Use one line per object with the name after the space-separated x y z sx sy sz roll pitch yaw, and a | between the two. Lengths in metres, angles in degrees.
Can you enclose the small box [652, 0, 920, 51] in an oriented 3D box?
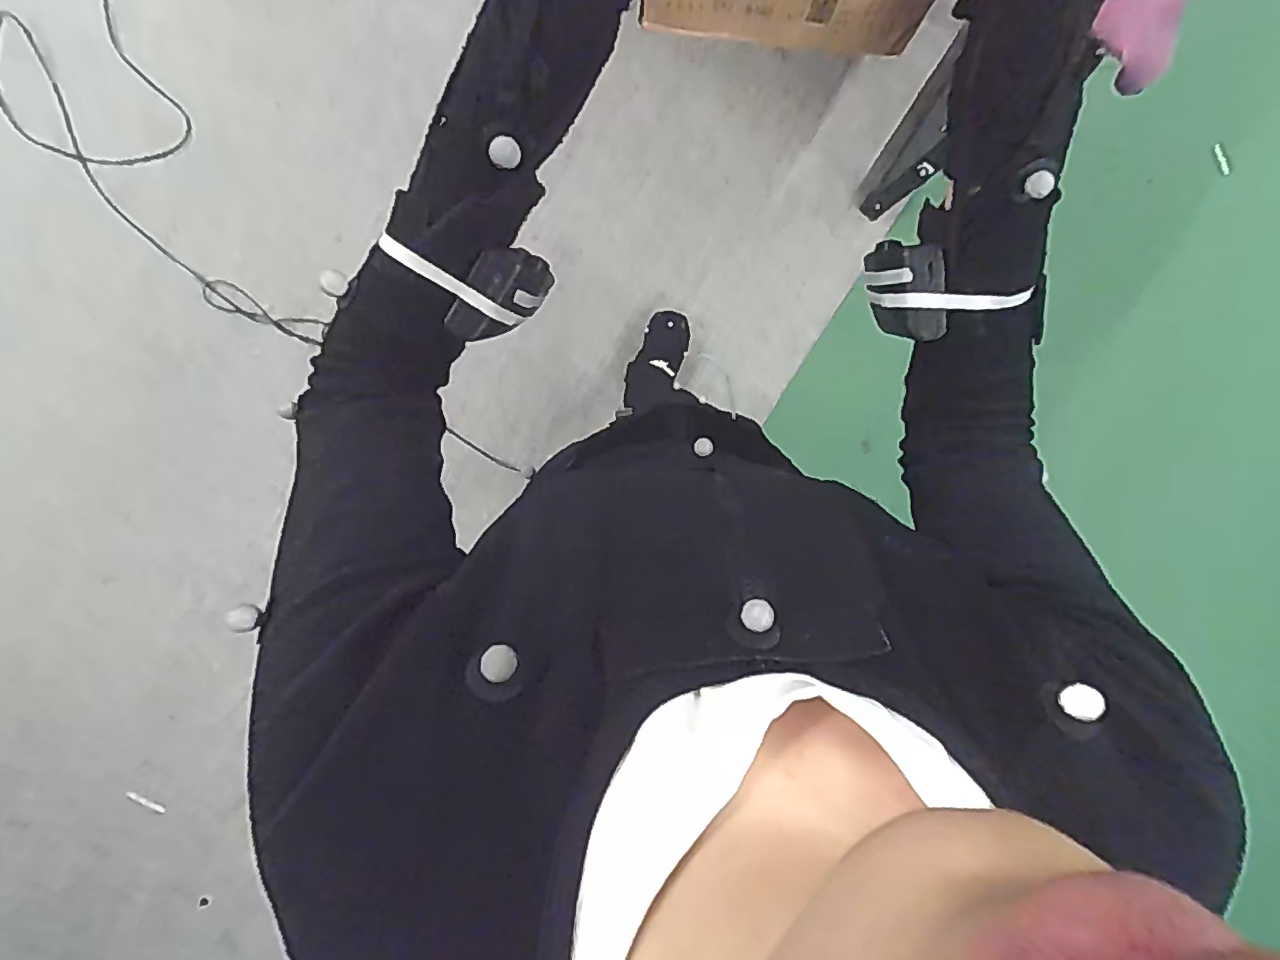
0.090 -0.368 0.264 0.168 0.176 0.179 2 85 -4 | small box
